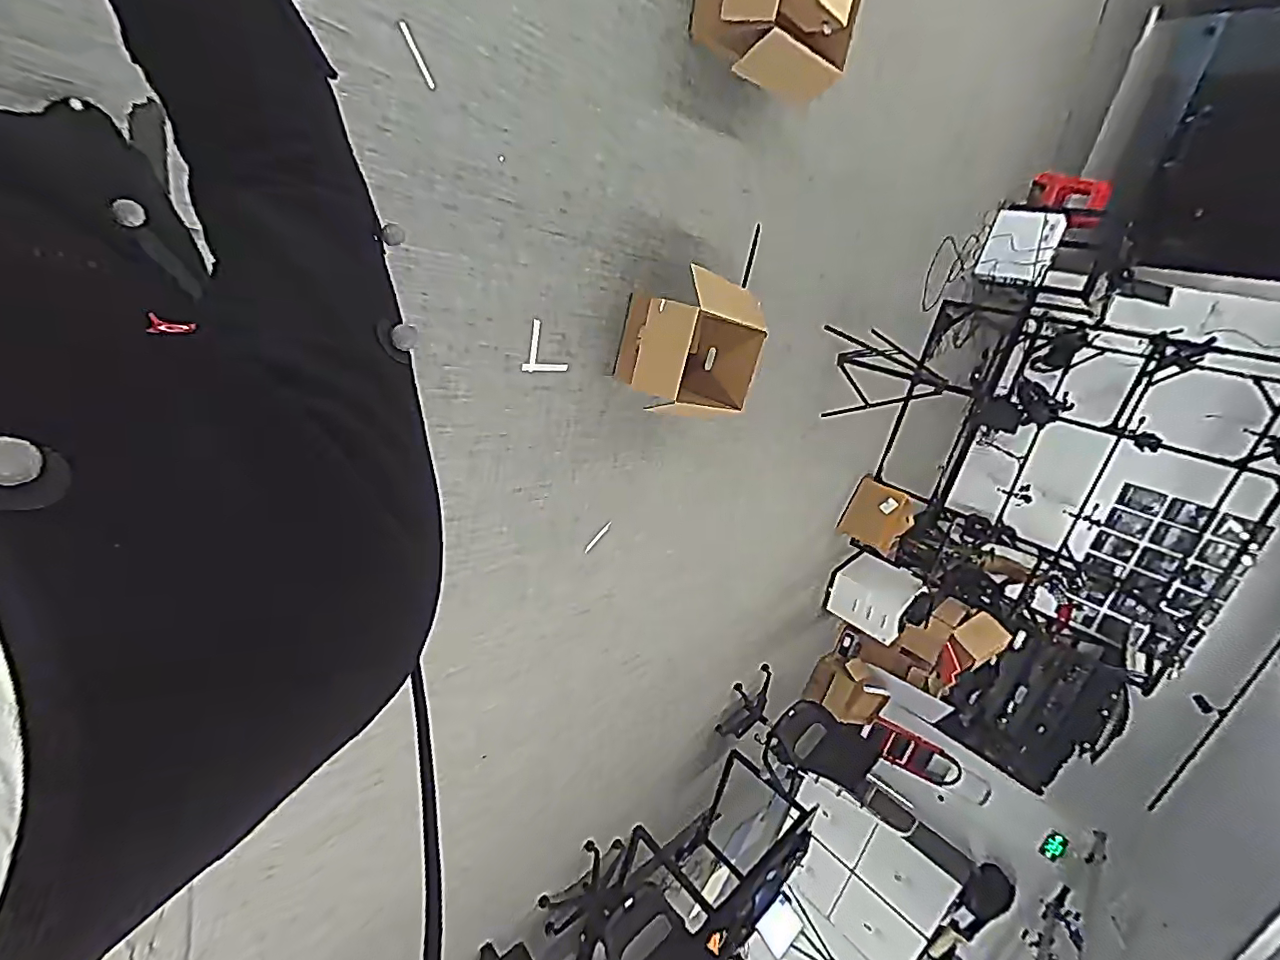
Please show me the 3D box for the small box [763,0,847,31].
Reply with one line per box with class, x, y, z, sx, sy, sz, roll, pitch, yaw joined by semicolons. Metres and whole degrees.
small box;0.473;-1.388;1.507;0.179;0.176;0.168;-11;120;-44
